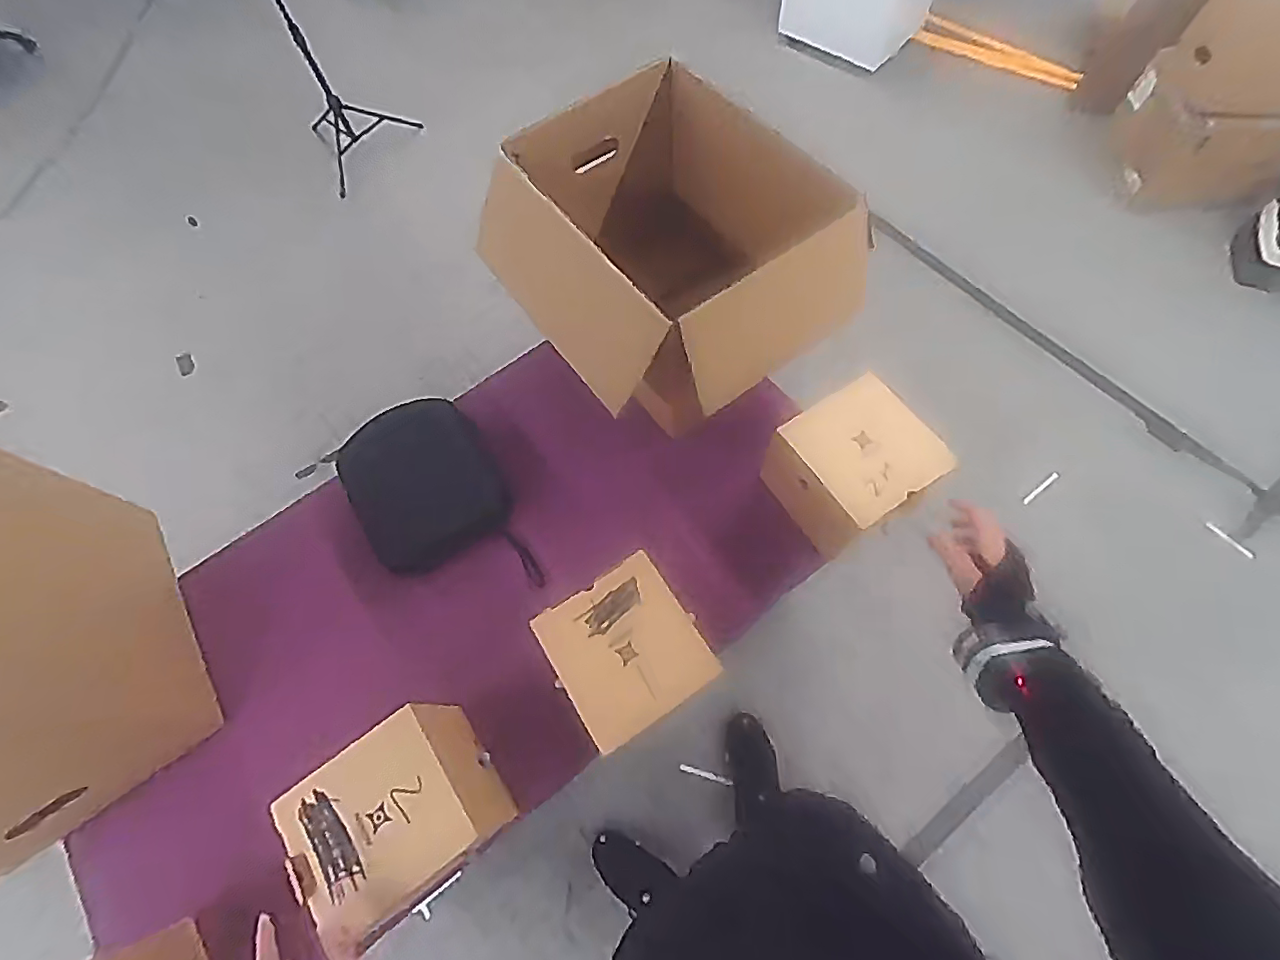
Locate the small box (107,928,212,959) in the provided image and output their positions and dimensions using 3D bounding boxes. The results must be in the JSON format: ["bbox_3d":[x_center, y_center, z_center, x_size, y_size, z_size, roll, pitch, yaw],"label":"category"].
[{"bbox_3d":[-0.585,0.638,0.570,0.179,0.176,0.168,-38,70,-13],"label":"small box"}]

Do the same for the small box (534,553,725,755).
[{"bbox_3d":[-0.010,0.228,0.705,0.168,0.176,0.179,-33,69,-9],"label":"small box"}]

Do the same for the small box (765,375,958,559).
[{"bbox_3d":[0.301,-0.011,0.783,0.168,0.176,0.179,-32,68,-8],"label":"small box"}]
